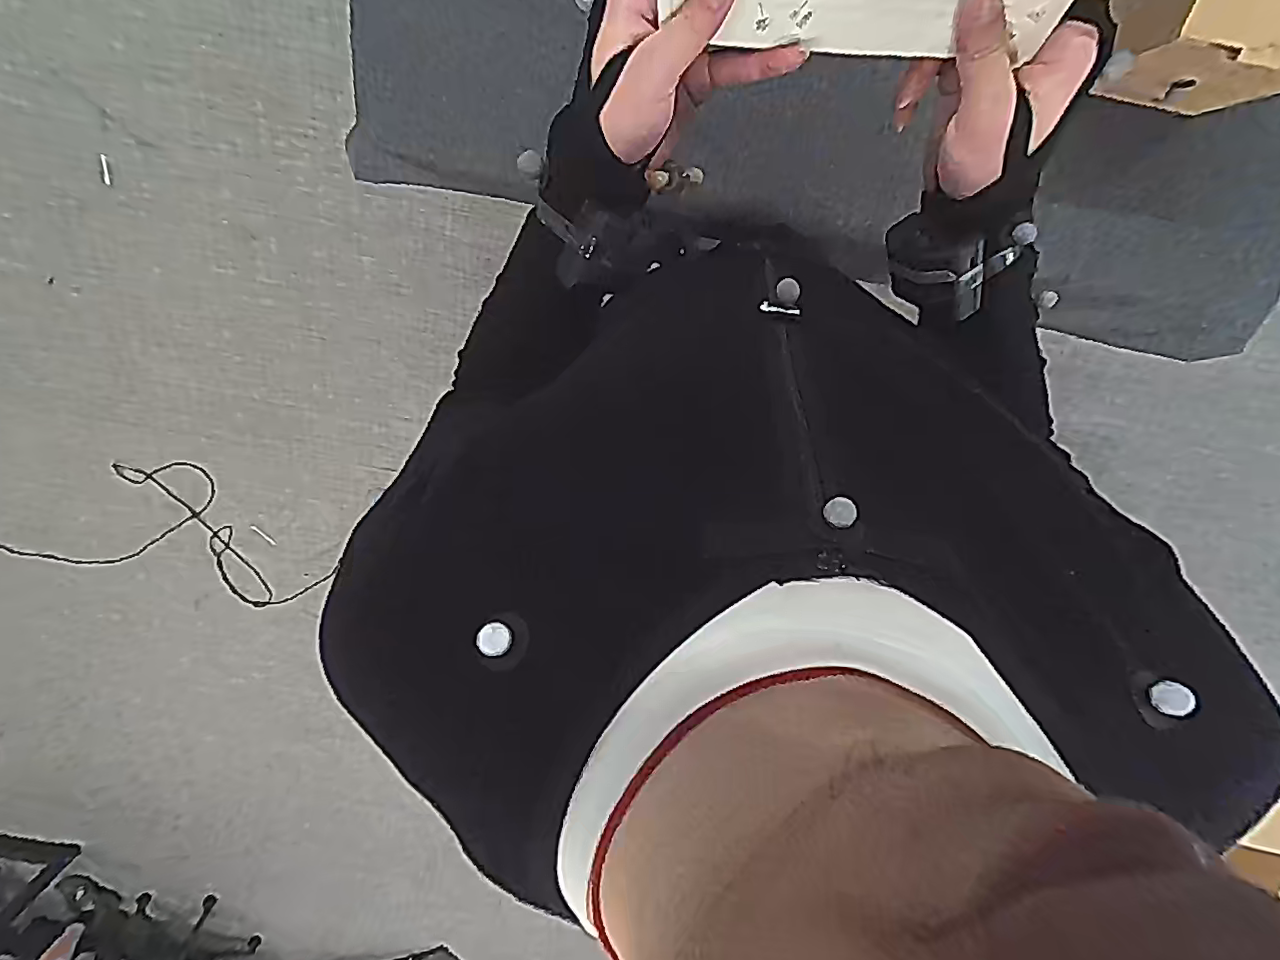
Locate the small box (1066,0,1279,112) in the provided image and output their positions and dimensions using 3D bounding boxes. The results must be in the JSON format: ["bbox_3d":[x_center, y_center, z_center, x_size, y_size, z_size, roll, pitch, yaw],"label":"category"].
[{"bbox_3d":[0.573,-0.485,0.528,0.168,0.176,0.179,11,115,-1],"label":"small box"}]
